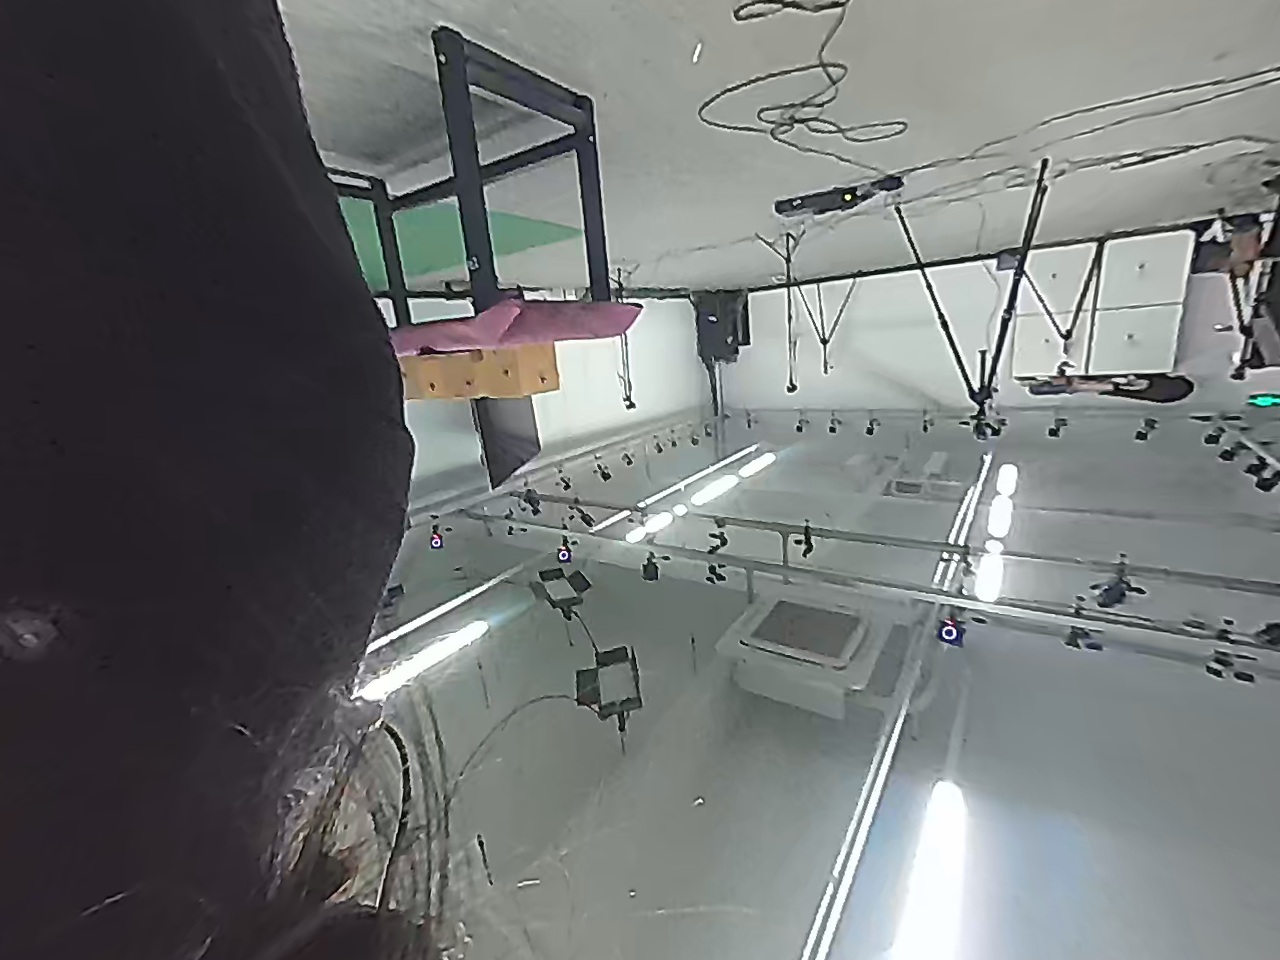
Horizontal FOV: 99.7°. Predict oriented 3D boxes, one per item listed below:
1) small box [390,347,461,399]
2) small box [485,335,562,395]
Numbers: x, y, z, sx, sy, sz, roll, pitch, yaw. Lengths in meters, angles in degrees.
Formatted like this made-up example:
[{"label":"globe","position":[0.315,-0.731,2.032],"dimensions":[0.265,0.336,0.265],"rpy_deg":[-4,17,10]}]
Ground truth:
[{"label":"small box","position":[-0.806,-0.404,2.029],"dimensions":[0.168,0.176,0.179],"rpy_deg":[4,-163,29]},{"label":"small box","position":[-0.382,-0.377,1.764],"dimensions":[0.168,0.176,0.179],"rpy_deg":[5,-161,35]}]
